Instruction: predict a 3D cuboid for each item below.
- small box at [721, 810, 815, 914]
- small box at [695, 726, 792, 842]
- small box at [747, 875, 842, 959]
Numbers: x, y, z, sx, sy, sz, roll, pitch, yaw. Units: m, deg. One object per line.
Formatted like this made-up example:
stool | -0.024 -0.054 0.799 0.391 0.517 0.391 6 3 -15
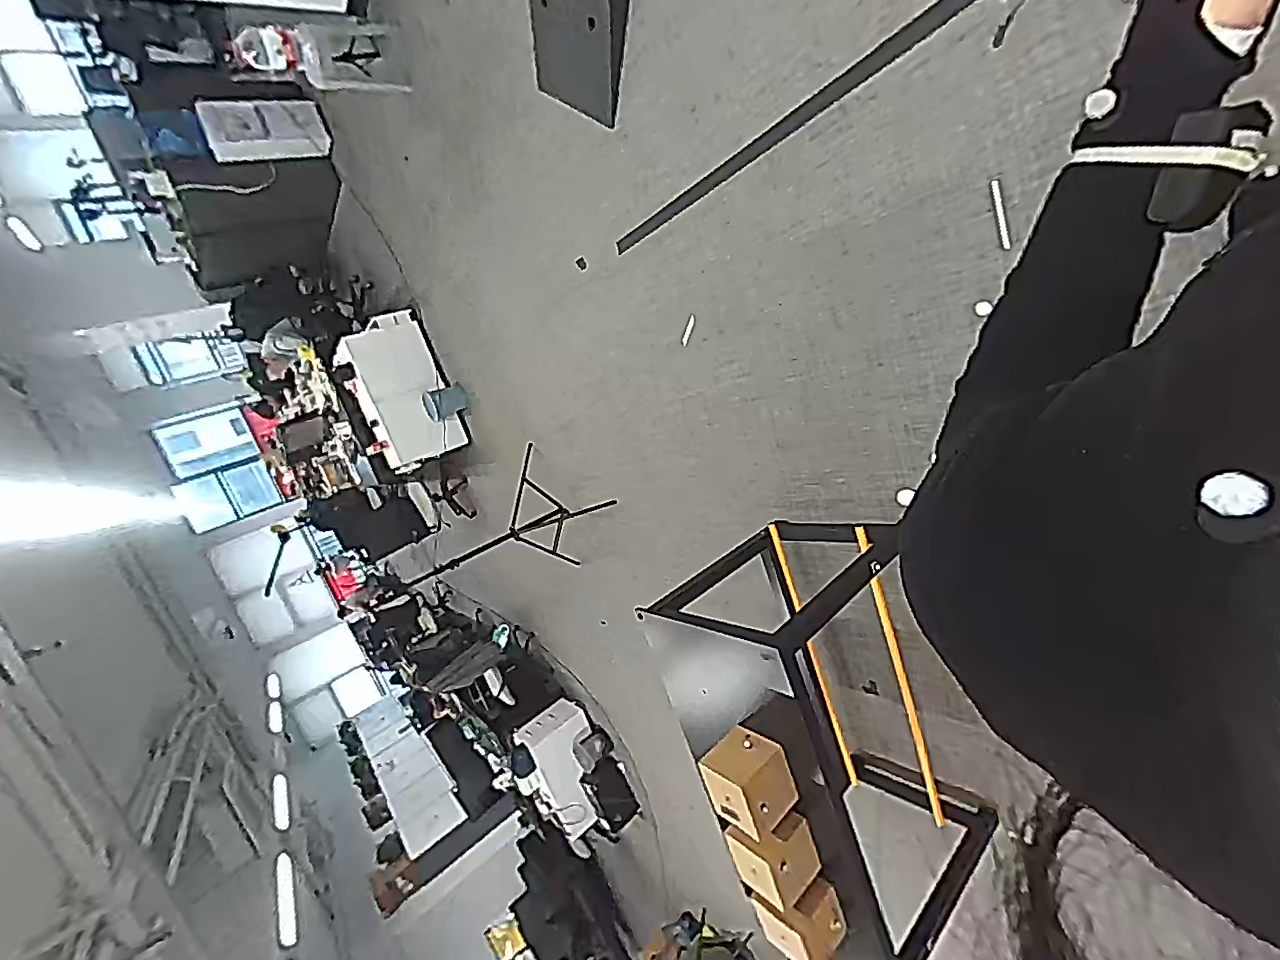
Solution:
small box | 0.359 1.034 1.511 0.168 0.176 0.179 -1 112 55
small box | 0.283 0.811 1.459 0.168 0.176 0.179 -2 110 55
small box | 0.442 1.235 1.542 0.179 0.176 0.168 -5 110 55
